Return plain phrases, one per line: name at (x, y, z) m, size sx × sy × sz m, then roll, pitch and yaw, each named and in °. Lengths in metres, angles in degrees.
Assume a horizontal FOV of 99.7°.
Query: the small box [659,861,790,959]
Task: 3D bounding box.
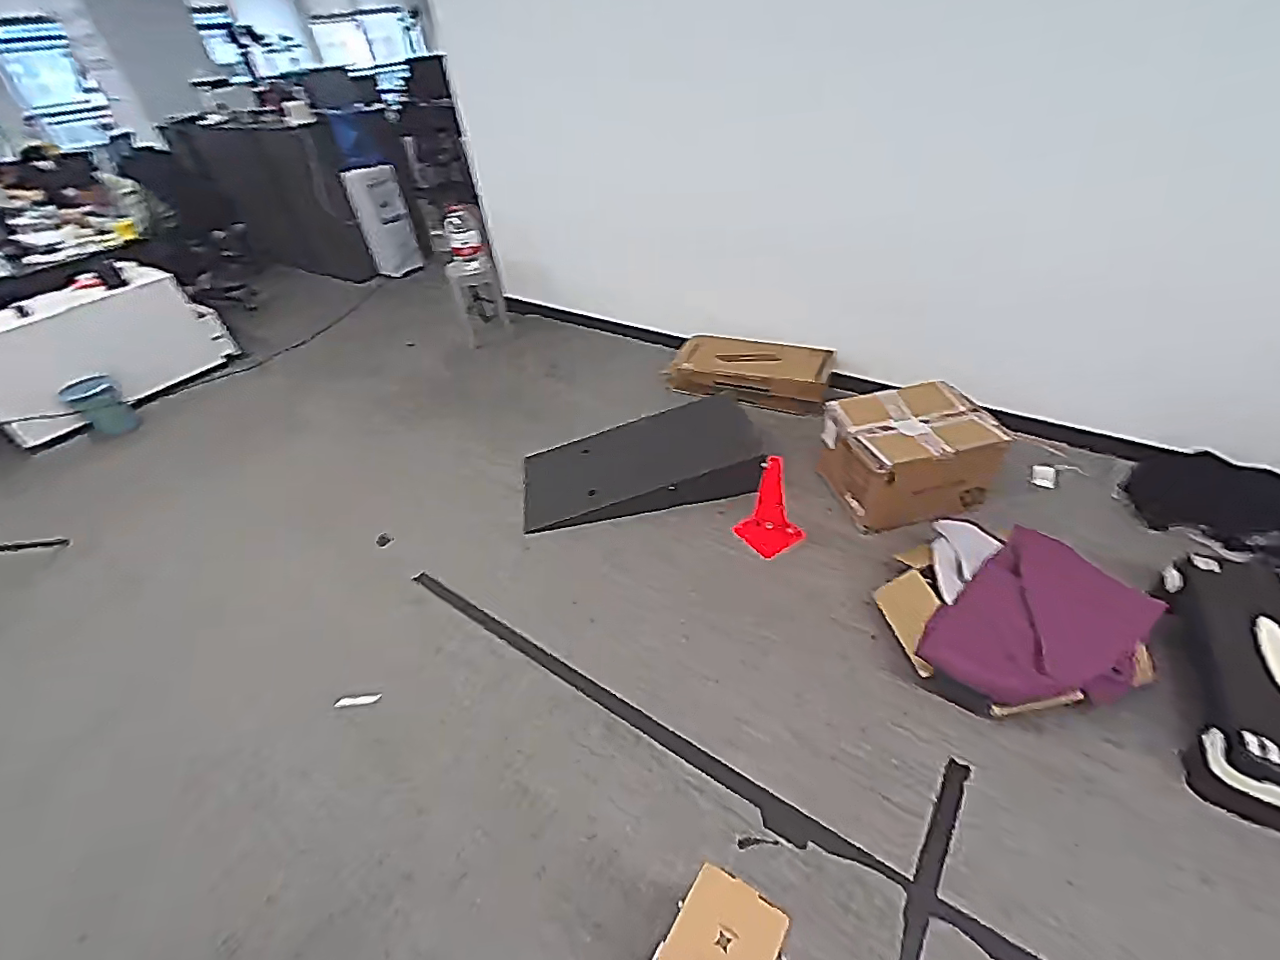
small box at (0.151, 0.838, 0.965) m, size 0.168 × 0.176 × 0.179 m, roll 20°, pitch 49°, yaw 29°
